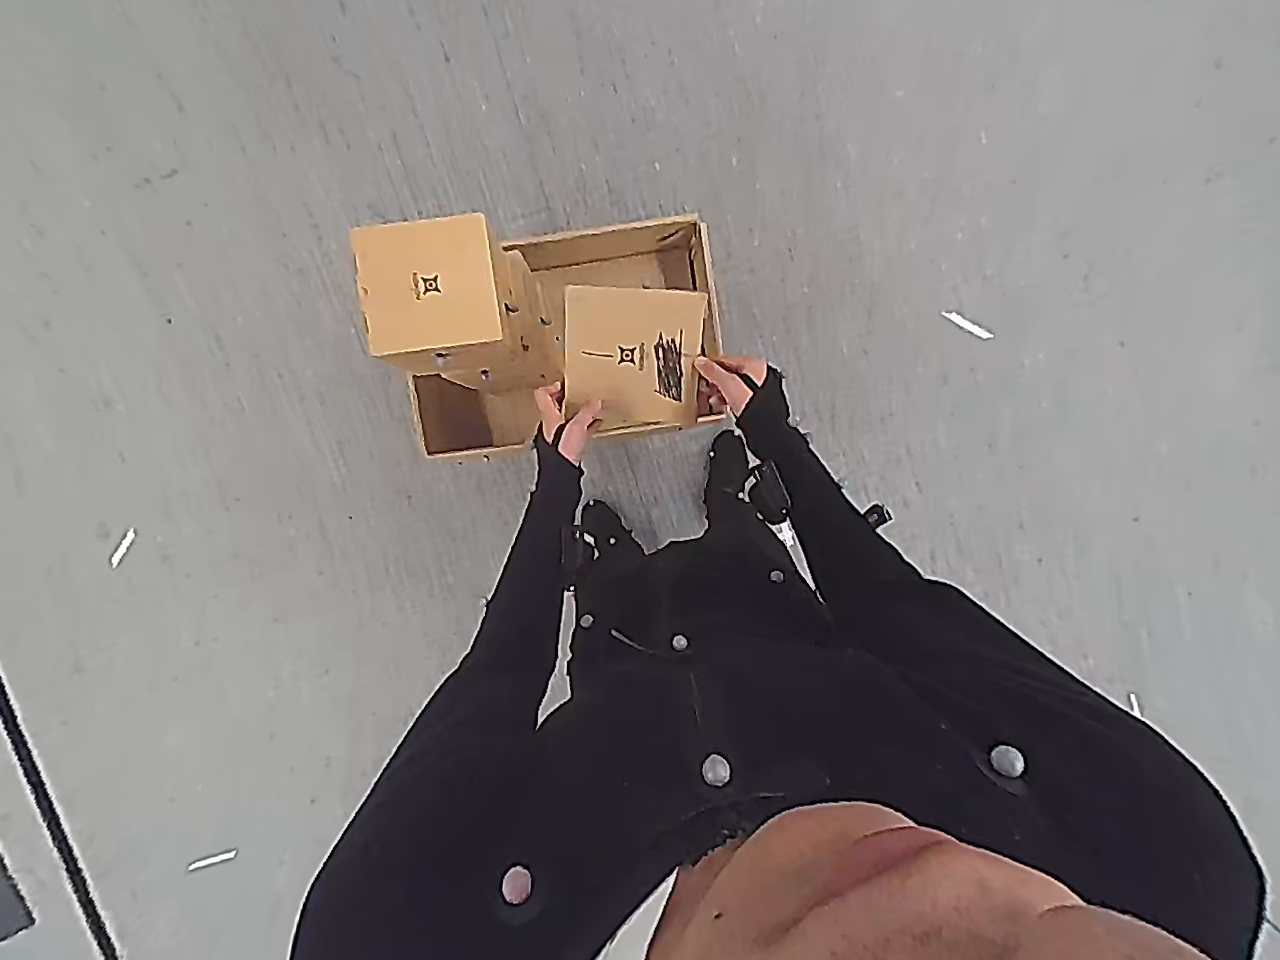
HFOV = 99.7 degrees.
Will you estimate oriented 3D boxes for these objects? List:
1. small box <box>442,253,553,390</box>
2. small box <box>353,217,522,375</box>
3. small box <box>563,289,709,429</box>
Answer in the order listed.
[{"bbox_3d":[-0.254,-0.264,0.939,0.168,0.176,0.179,-11,93,-1],"label":"small box"},{"bbox_3d":[-0.274,-0.251,0.775,0.179,0.176,0.168,-8,93,-1],"label":"small box"},{"bbox_3d":[-0.009,-0.174,0.754,0.179,0.176,0.168,3,108,-2],"label":"small box"}]
